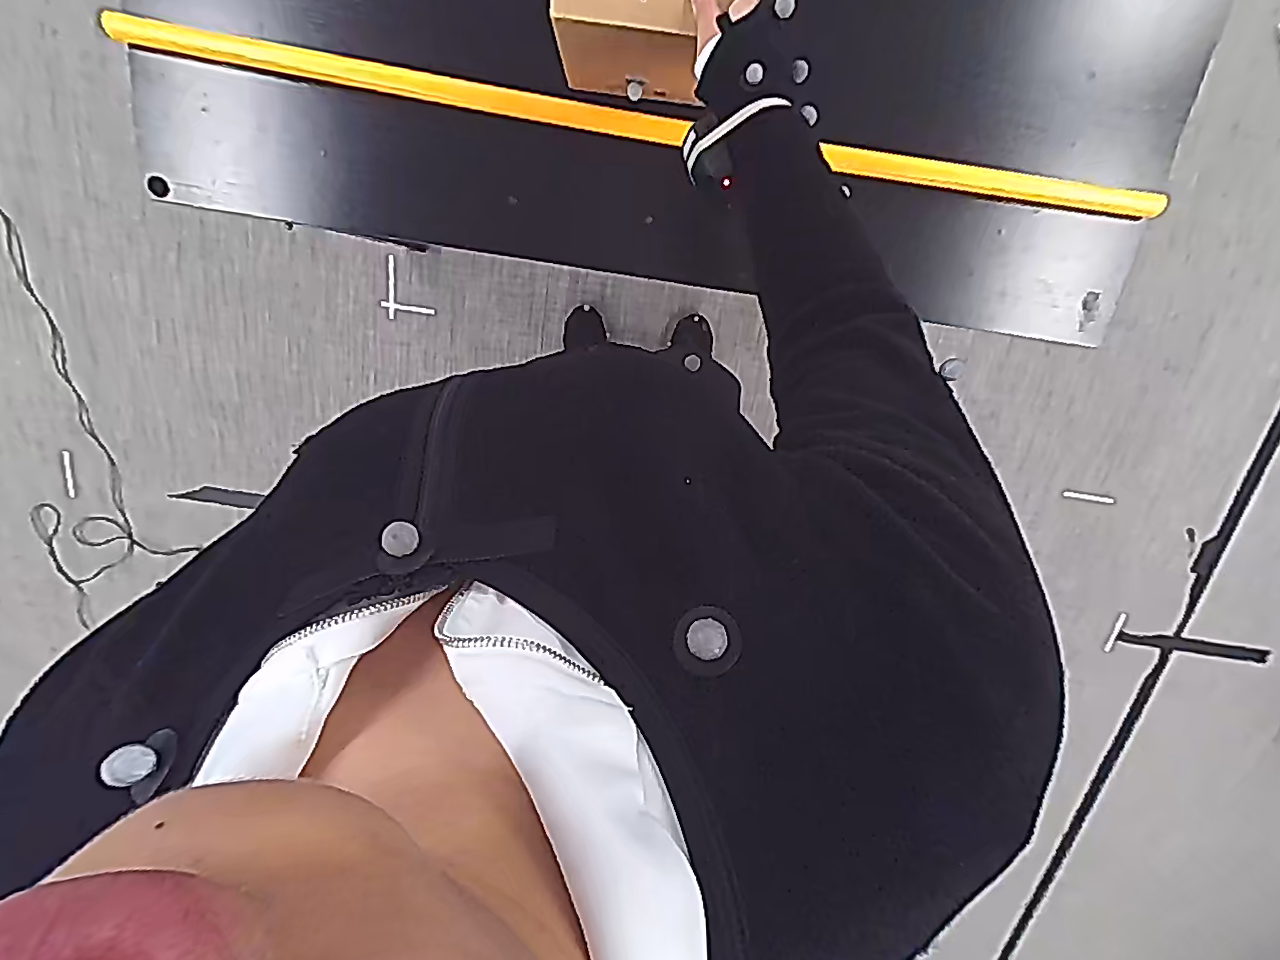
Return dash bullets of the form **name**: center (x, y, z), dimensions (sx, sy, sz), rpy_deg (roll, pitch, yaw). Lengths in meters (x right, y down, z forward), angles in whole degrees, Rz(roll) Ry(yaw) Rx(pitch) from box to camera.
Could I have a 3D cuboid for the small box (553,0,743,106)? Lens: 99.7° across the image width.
- **small box**: center (0.014, -0.499, 0.520), dimensions (0.168, 0.176, 0.179), rpy_deg (6, 108, -3)
